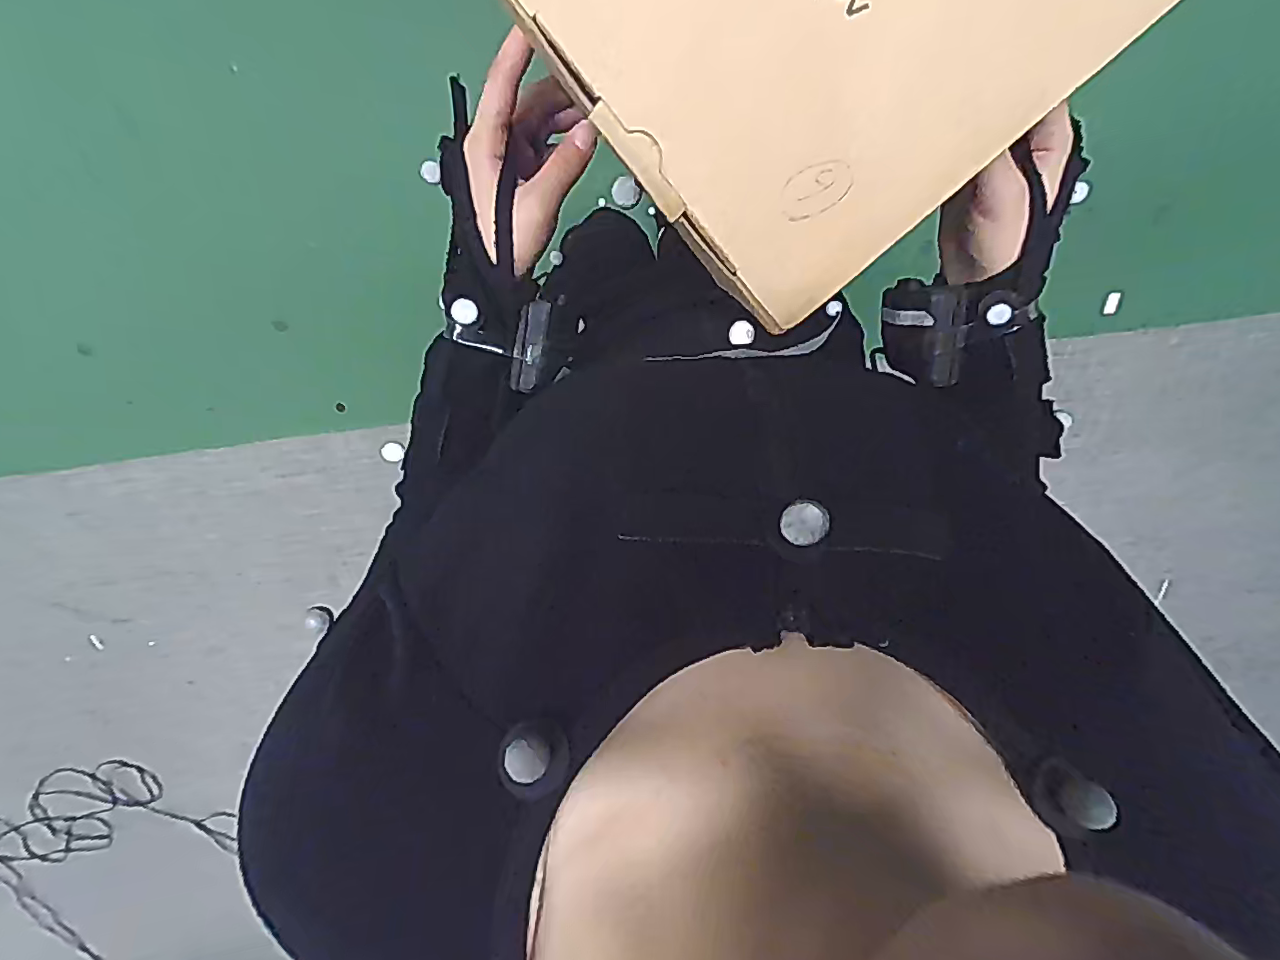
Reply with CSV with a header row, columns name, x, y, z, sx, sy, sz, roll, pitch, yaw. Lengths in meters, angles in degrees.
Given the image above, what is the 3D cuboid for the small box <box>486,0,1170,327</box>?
name,x,y,z,sx,sy,sz,roll,pitch,yaw
small box,0.062,-0.197,0.234,0.179,0.176,0.168,-39,109,19
